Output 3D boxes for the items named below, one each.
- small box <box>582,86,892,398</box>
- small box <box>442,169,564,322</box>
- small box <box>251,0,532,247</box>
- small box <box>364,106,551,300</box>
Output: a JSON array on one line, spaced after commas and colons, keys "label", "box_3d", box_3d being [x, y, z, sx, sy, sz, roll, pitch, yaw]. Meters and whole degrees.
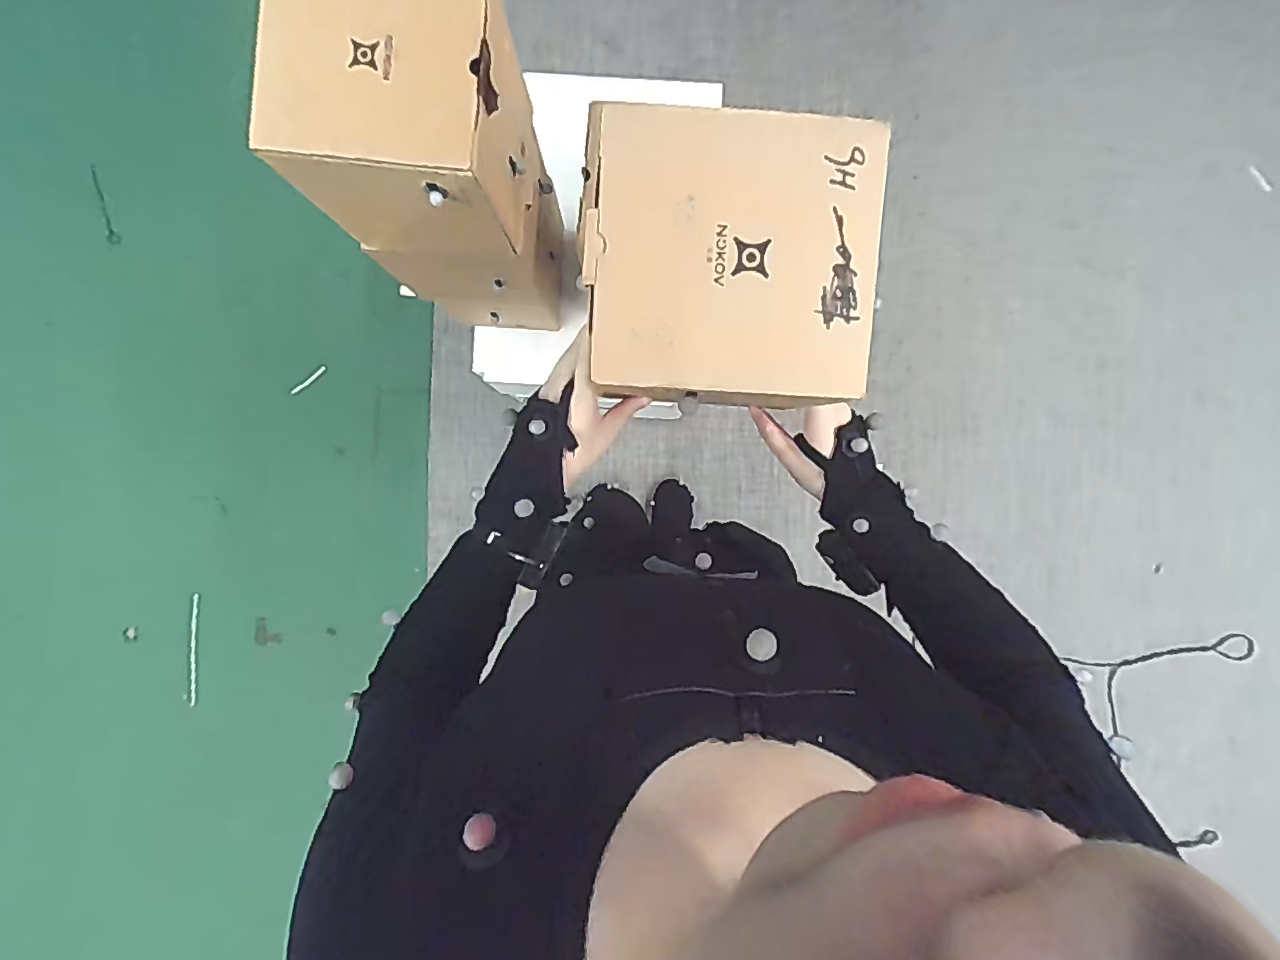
[{"label": "small box", "box_3d": [0.056, -0.152, 0.404, 0.179, 0.176, 0.168, 4, 96, -1]}, {"label": "small box", "box_3d": [-0.208, -0.348, 0.820, 0.168, 0.176, 0.179, 4, 91, -2]}, {"label": "small box", "box_3d": [-0.206, -0.332, 0.495, 0.179, 0.176, 0.168, 5, 90, -2]}, {"label": "small box", "box_3d": [-0.206, -0.329, 0.658, 0.179, 0.176, 0.168, 3, 90, 0]}]
